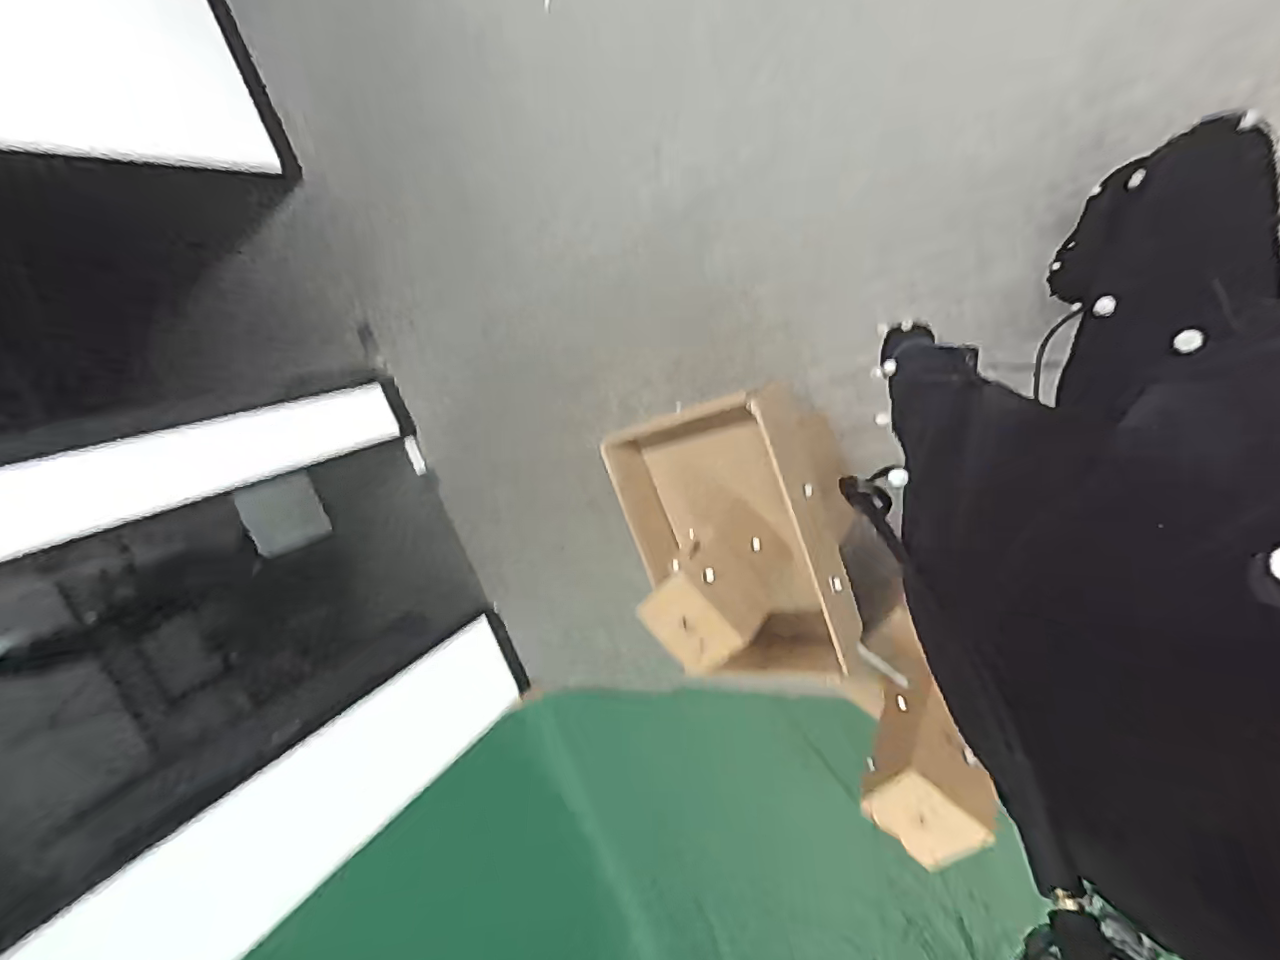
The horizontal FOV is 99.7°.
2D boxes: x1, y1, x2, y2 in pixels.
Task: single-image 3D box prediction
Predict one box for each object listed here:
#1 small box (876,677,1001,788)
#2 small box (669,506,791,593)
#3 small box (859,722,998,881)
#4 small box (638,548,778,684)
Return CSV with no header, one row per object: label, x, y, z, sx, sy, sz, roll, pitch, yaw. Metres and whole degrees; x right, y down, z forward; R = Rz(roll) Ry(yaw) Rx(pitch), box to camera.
small box,0.654,0.571,1.178,0.168,0.176,0.179,40,126,14
small box,0.204,0.188,1.199,0.179,0.176,0.168,46,126,10
small box,0.564,0.617,1.050,0.168,0.176,0.179,38,126,15
small box,0.136,0.255,1.062,0.179,0.176,0.168,47,129,9
